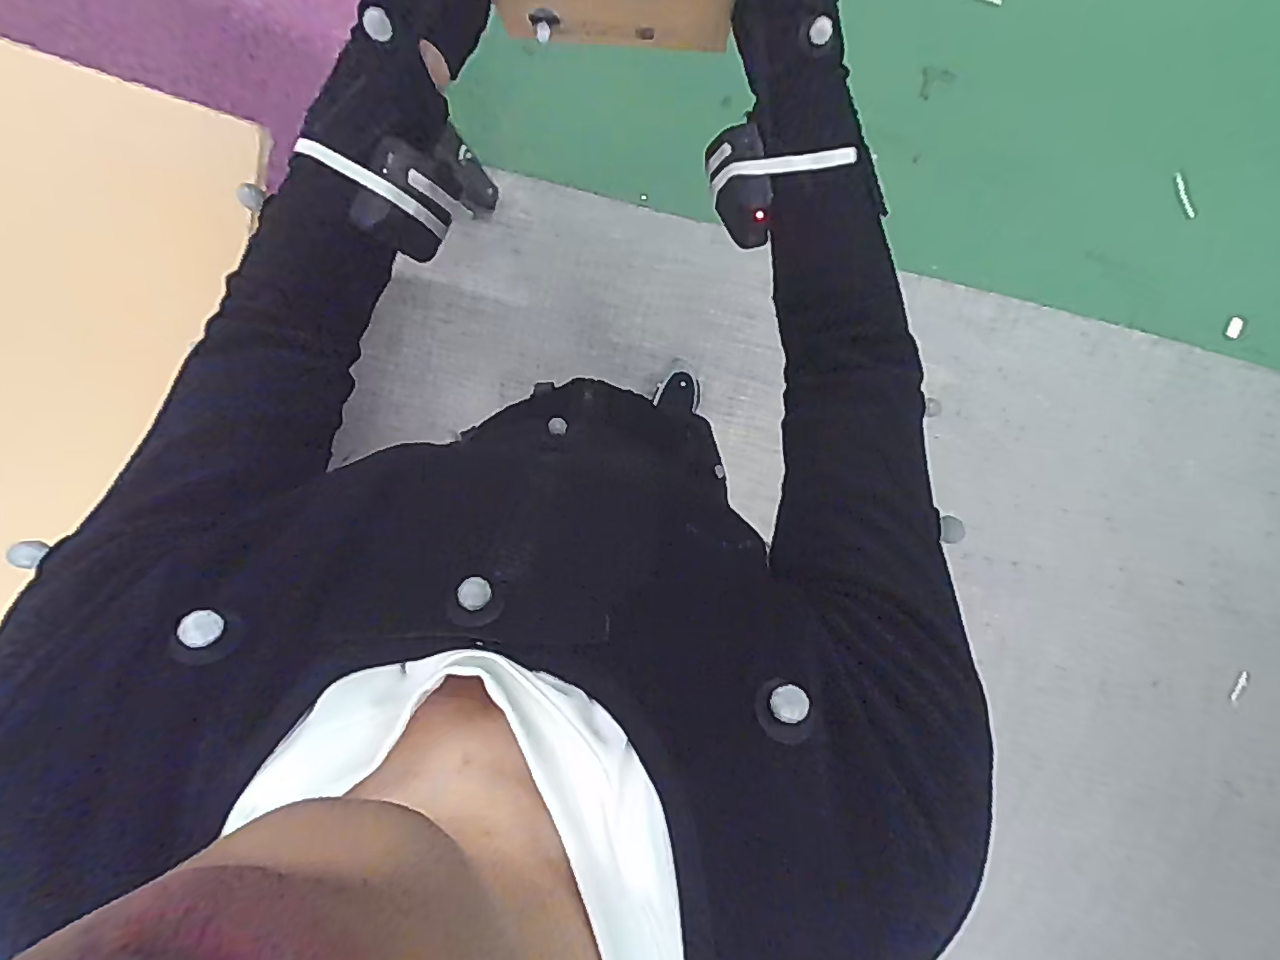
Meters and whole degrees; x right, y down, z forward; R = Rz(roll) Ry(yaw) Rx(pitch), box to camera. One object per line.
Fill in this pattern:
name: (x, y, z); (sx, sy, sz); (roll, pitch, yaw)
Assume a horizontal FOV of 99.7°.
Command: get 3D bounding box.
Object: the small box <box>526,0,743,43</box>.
small box: (-0.003, -0.399, 0.314); (0.168, 0.176, 0.179); (4, 102, -1)
